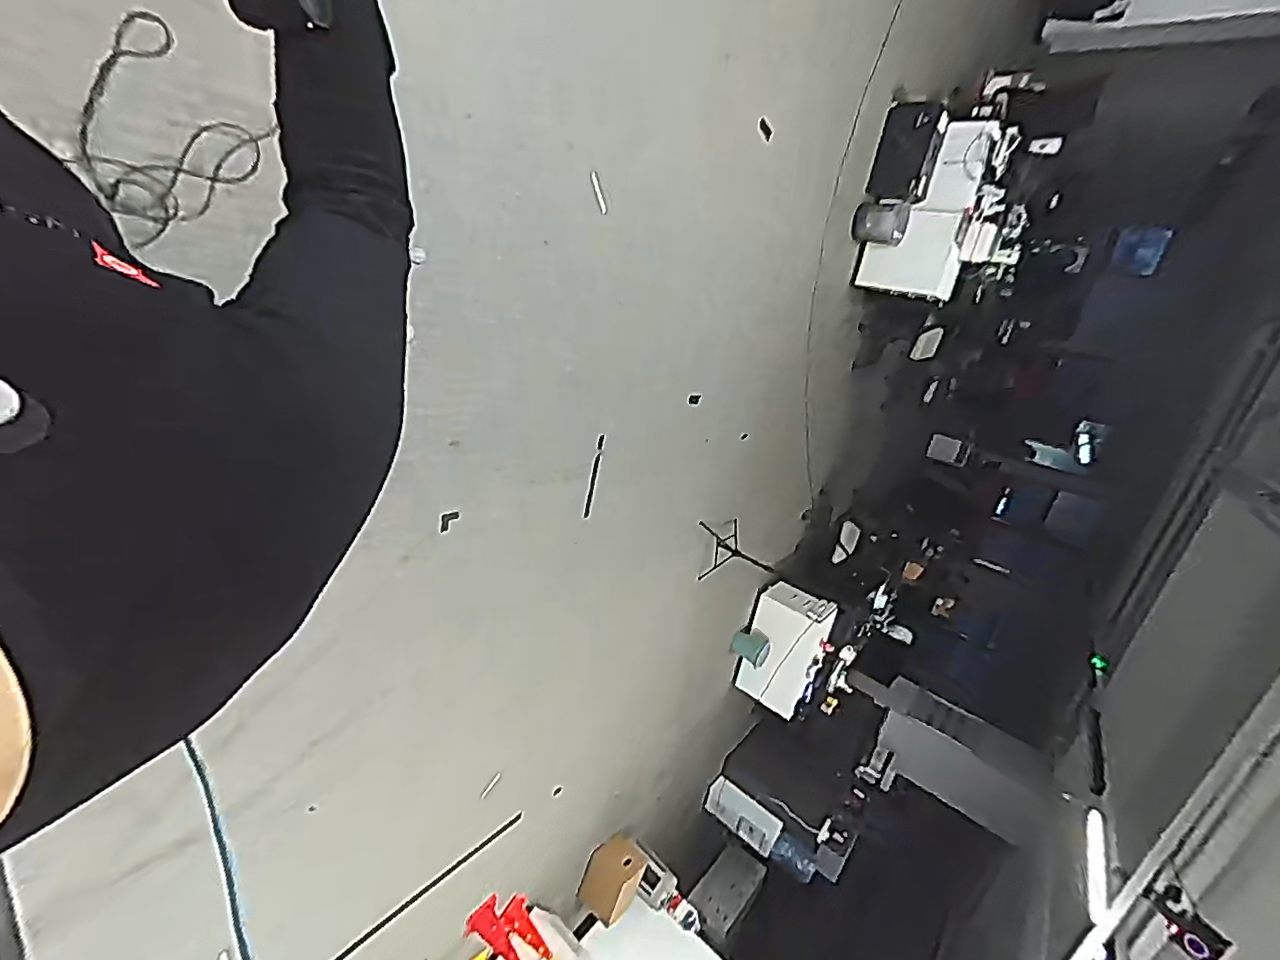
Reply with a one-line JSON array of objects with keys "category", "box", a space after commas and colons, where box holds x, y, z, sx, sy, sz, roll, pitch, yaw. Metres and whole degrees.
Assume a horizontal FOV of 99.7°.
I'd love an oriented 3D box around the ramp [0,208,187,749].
[{"category": "ramp", "box": [-1.196, 0.029, 0.968, 0.509, 0.206, 0.991, -15, 121, -48]}]
